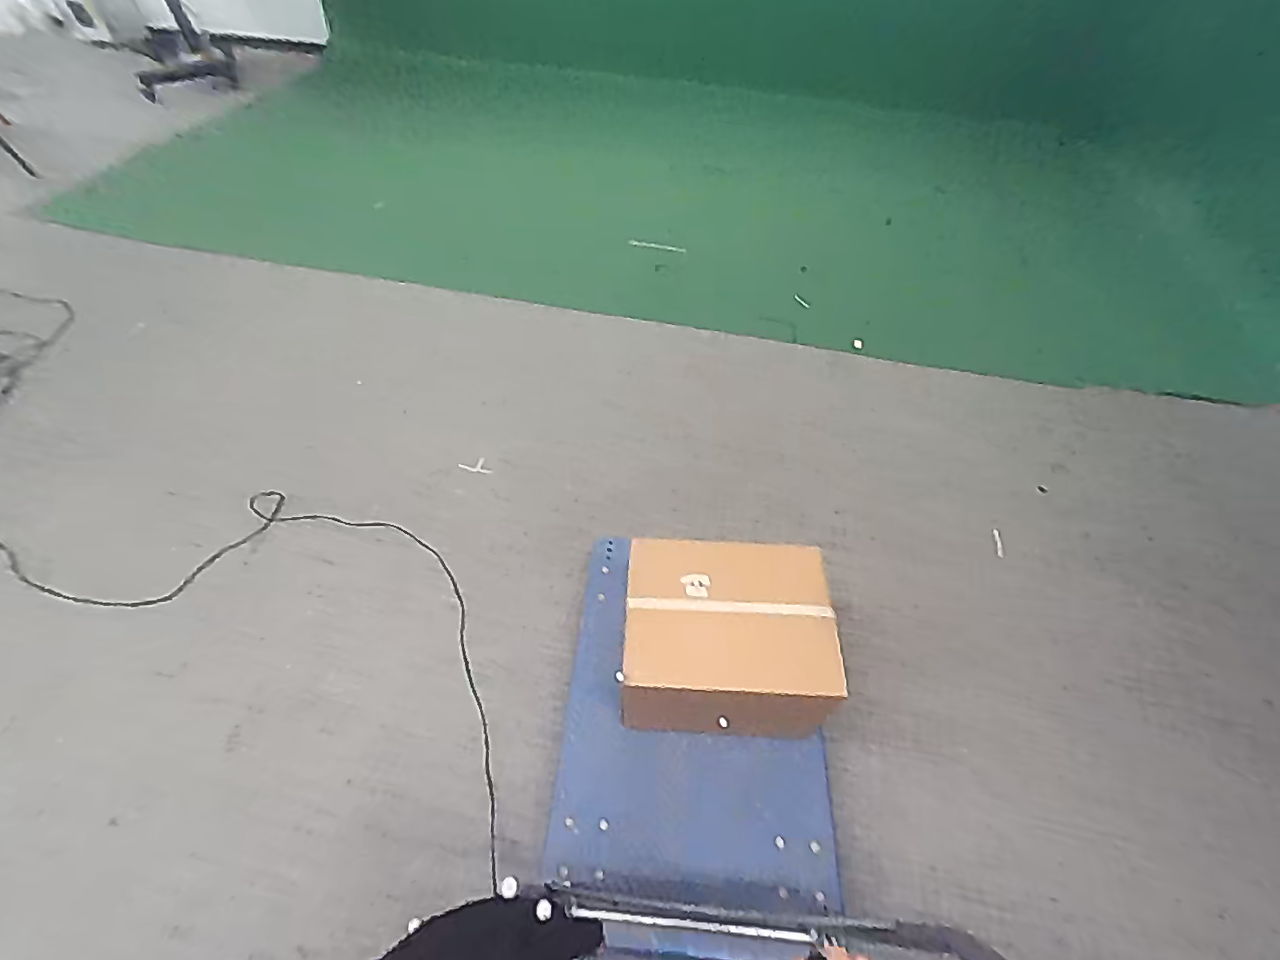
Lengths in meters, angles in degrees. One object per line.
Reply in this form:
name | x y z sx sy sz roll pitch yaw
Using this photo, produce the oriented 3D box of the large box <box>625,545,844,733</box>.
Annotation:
large box | 0.174 0.352 1.181 0.408 0.320 0.320 1 51 1
